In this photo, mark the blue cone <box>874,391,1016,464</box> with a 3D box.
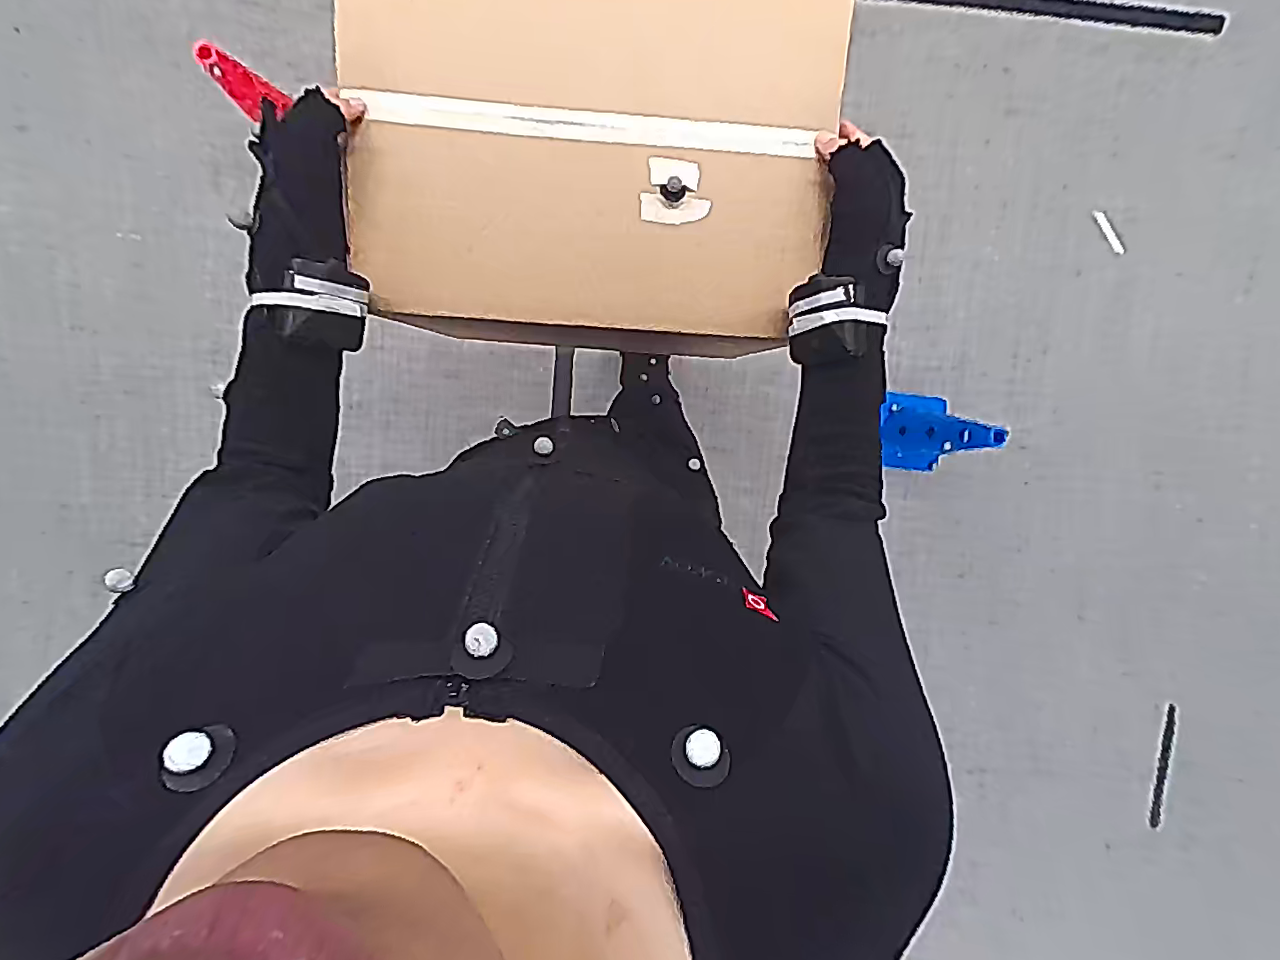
[{"bbox_3d":[0.738,-0.122,1.296,0.192,0.380,0.193,7,97,-4],"label":"blue cone"}]

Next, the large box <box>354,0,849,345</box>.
[{"bbox_3d":[-0.041,-0.326,0.594,0.408,0.320,0.320,3,100,-4],"label":"large box"}]

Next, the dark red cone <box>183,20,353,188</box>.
[{"bbox_3d":[-0.782,-0.793,1.124,0.201,0.394,0.202,9,97,-4],"label":"dark red cone"}]
